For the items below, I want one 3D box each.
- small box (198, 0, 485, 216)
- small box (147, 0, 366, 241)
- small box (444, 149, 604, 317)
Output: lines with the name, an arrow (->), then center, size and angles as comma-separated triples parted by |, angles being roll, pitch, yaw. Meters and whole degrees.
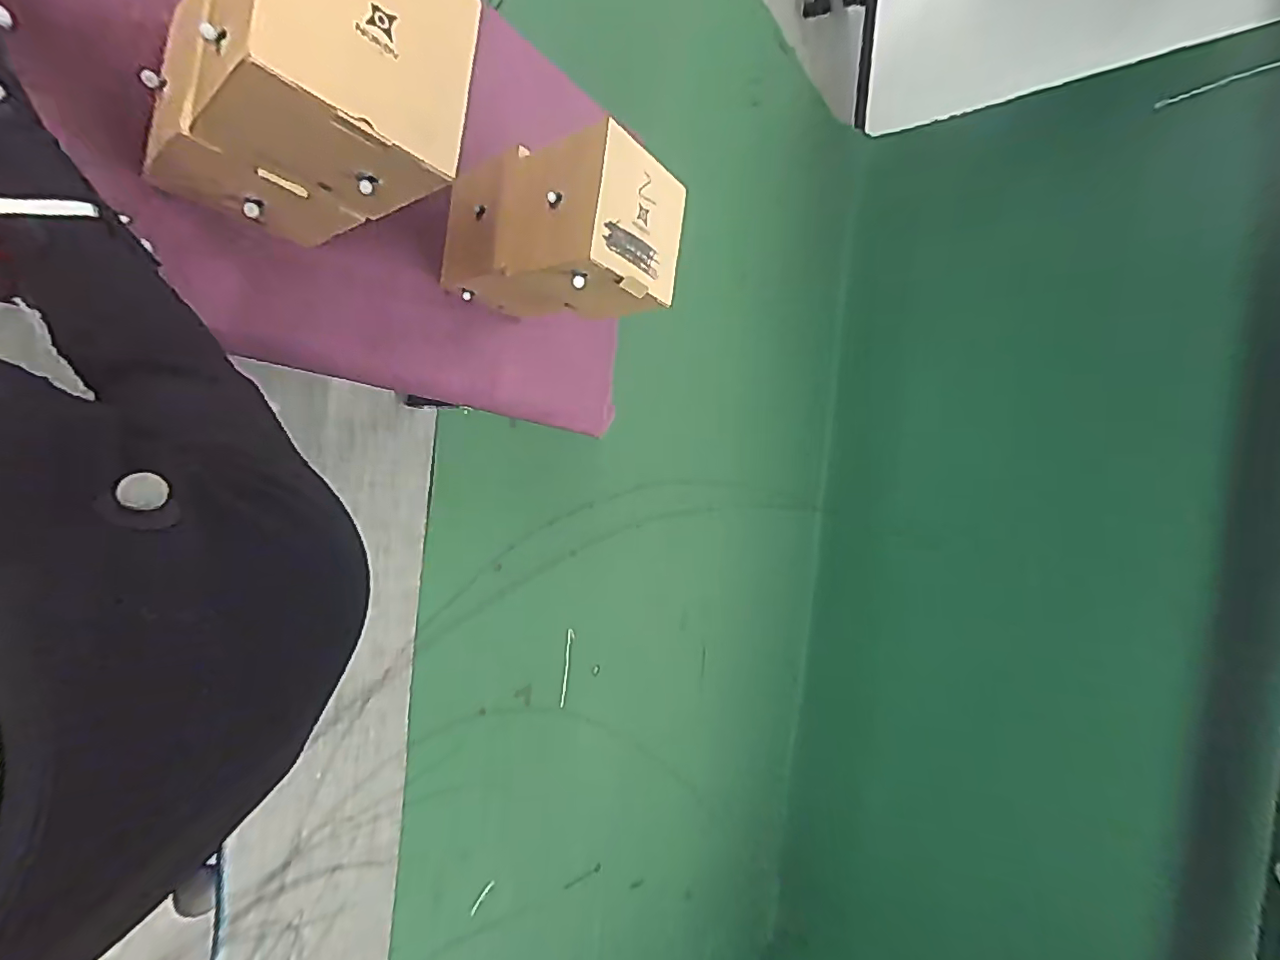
small box -> -0.270, -0.370, 0.489 | 0.168, 0.176, 0.179 | 10, 87, -52
small box -> -0.401, -0.385, 0.586 | 0.168, 0.176, 0.179 | 11, 87, -52
small box -> -0.185, -0.369, 0.851 | 0.168, 0.176, 0.179 | 13, 86, -53
